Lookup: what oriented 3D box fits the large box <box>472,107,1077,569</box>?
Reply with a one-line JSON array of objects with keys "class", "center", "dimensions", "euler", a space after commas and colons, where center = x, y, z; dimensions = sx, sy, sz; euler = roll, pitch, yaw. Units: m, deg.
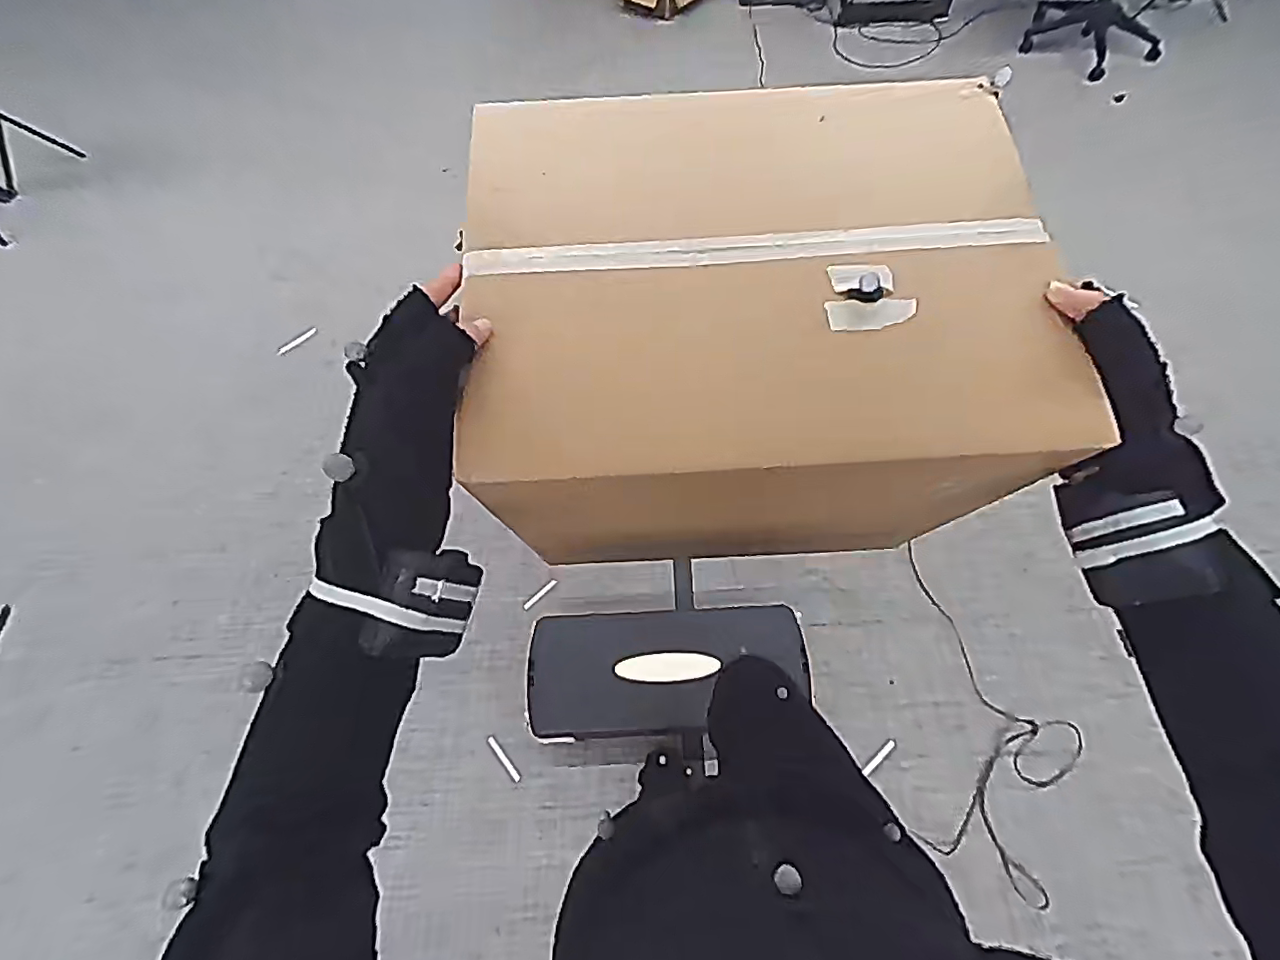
[{"class": "large box", "center": [0.078, -0.104, 0.537], "dimensions": [0.408, 0.320, 0.320], "euler": [-4, 71, 0]}]
